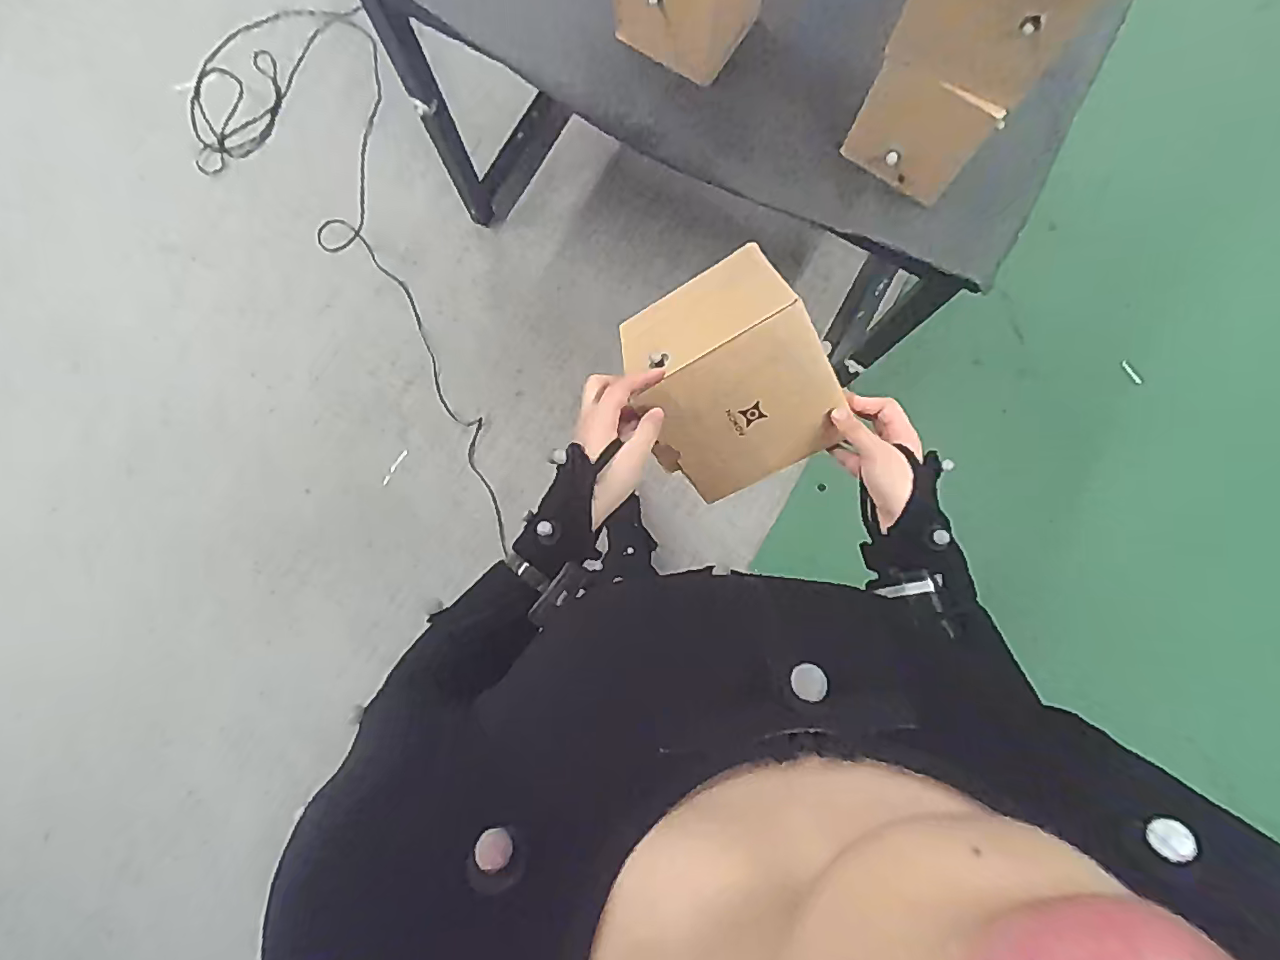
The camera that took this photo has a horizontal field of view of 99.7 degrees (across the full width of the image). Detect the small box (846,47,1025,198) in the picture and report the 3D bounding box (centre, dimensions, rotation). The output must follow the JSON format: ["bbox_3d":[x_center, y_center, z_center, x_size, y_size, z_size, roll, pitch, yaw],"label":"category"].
[{"bbox_3d":[0.420,-0.547,0.755,0.168,0.176,0.179,35,82,6],"label":"small box"}]

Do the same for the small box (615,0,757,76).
[{"bbox_3d":[0.071,-0.748,0.790,0.179,0.176,0.168,32,82,5],"label":"small box"}]

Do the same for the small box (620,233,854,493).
[{"bbox_3d":[0.091,-0.124,0.570,0.179,0.168,0.176,-27,38,19],"label":"small box"}]

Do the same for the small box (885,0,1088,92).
[{"bbox_3d":[0.412,-0.581,0.597,0.179,0.176,0.168,27,79,6],"label":"small box"}]
